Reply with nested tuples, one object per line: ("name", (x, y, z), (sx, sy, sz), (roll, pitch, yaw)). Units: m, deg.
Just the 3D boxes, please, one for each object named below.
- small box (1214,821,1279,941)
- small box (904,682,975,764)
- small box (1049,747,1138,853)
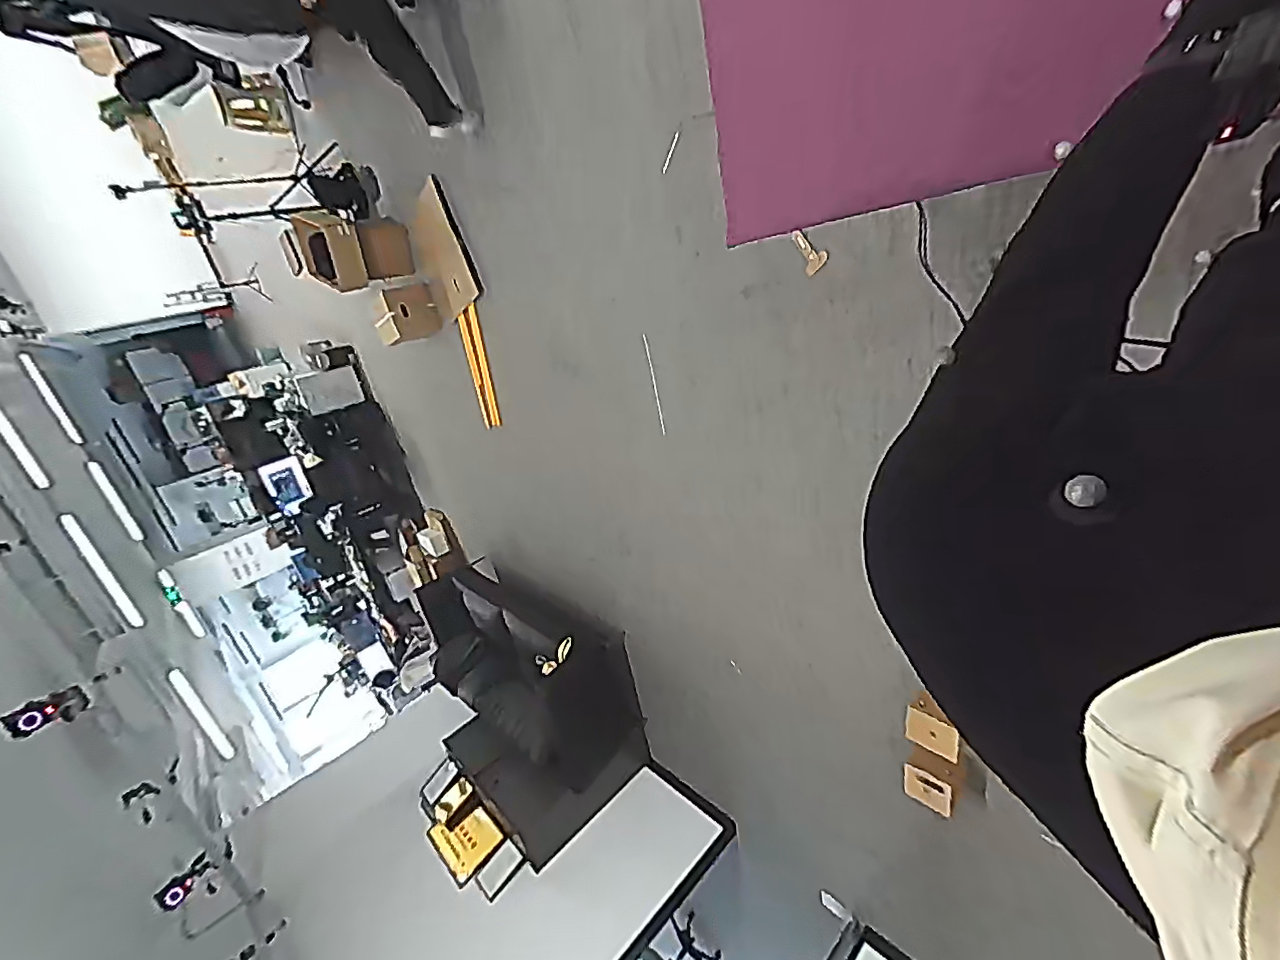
("small box", (1.607, 1.028, 1.374), (0.168, 0.176, 0.179), (14, 125, 46))
("small box", (1.076, 0.862, 1.938), (0.179, 0.176, 0.168), (18, 127, 46))
("small box", (1.367, 0.958, 1.630), (0.168, 0.176, 0.179), (16, 126, 45))
